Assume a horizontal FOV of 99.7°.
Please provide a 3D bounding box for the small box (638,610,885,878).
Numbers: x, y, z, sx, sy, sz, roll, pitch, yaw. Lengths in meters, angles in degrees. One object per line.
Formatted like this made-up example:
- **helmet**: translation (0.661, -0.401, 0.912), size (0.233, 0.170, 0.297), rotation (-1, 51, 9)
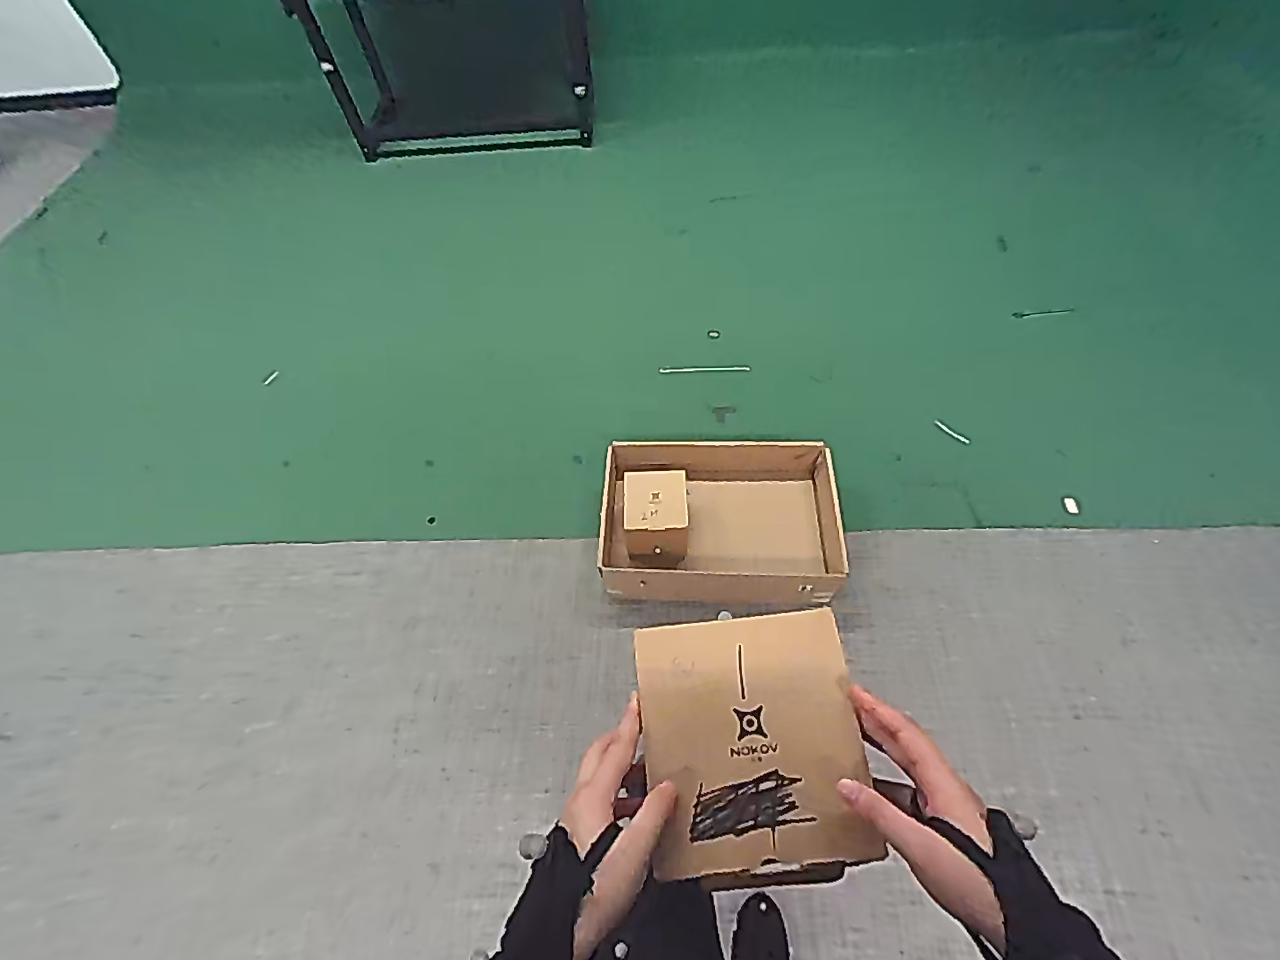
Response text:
- **small box**: translation (0.090, 0.220, 0.483), size (0.168, 0.176, 0.179), rotation (-6, 68, 1)

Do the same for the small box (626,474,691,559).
- **small box**: translation (0.050, 0.100, 1.466), size (0.168, 0.176, 0.179), rotation (-2, 58, 3)
